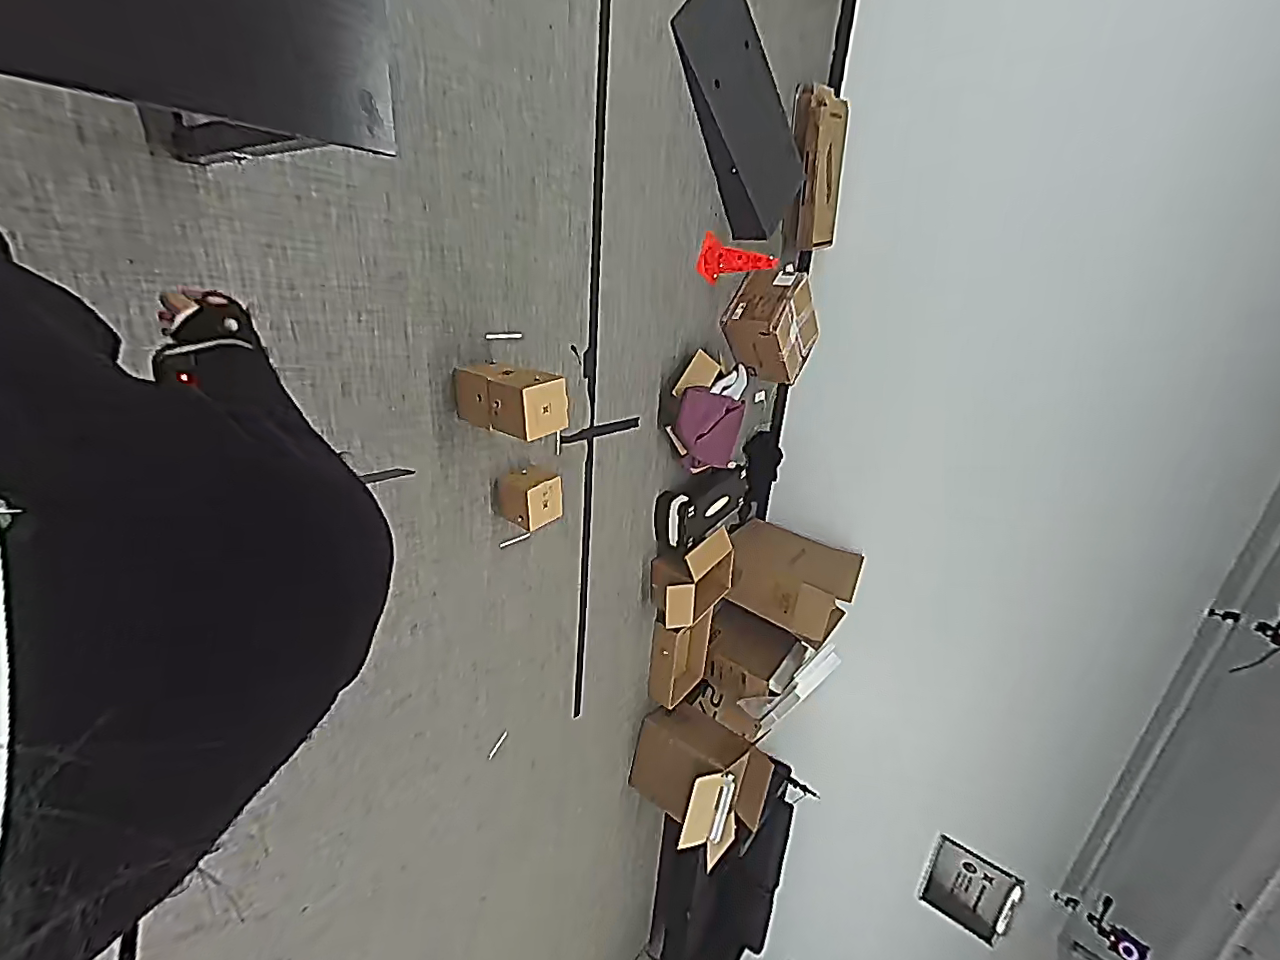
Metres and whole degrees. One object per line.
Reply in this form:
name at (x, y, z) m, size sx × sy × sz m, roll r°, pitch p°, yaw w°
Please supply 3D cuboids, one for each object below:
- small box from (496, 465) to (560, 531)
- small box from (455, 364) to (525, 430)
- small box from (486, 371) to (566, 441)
small box at (-0.422, 0.063, 2.041) m, size 0.168 × 0.176 × 0.179 m, roll -28°, pitch 128°, yaw -45°
small box at (-0.488, -0.280, 1.770) m, size 0.168 × 0.176 × 0.179 m, roll -25°, pitch 126°, yaw -47°
small box at (-0.354, -0.238, 1.688) m, size 0.179 × 0.176 × 0.168 m, roll -28°, pitch 126°, yaw -44°
